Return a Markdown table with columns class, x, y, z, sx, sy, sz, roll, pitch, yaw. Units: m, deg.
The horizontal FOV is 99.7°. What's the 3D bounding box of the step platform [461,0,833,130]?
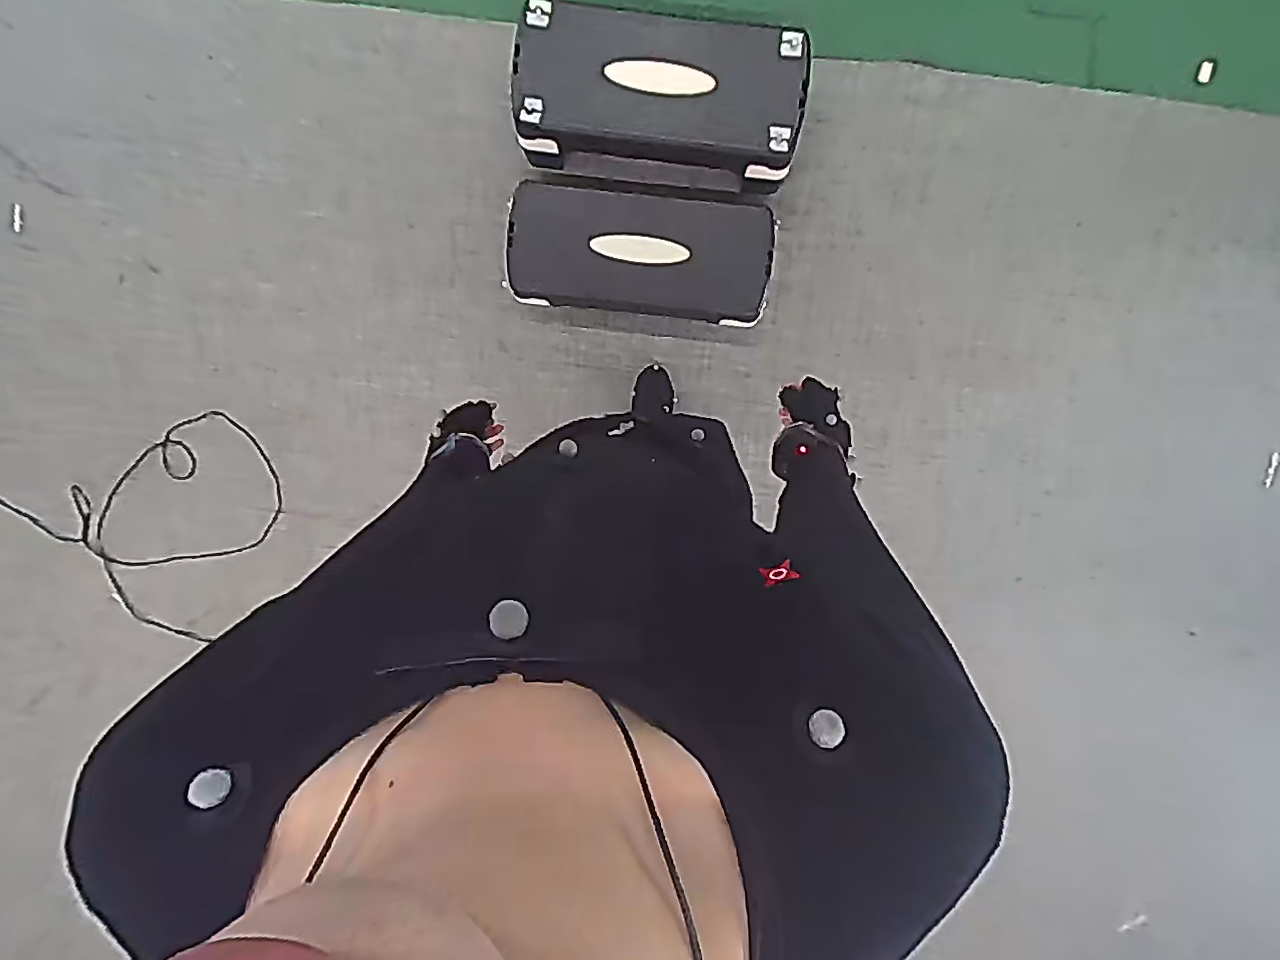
| class | x | y | z | sx | sy | sz | roll | pitch | yaw |
| --- | --- | --- | --- | --- | --- | --- | --- | --- | --- |
| step platform | 0.017 | -0.908 | 1.068 | 0.684 | 0.204 | 0.286 | 7 | 98 | 1 |
